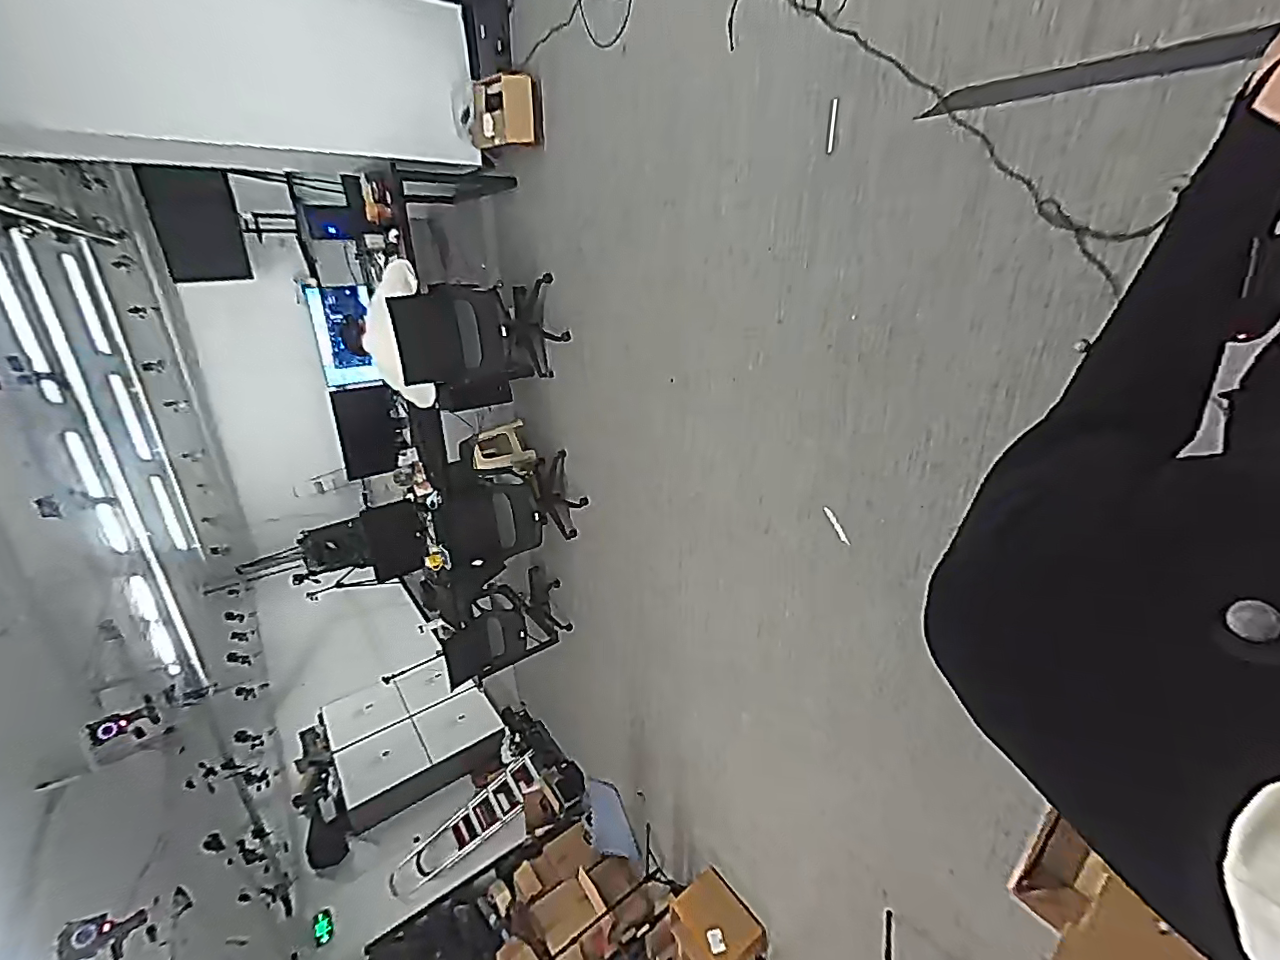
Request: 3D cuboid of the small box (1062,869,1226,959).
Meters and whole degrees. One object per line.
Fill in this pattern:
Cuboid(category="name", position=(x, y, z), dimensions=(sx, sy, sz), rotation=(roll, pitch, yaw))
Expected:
Cuboid(category="small box", position=(0.878, 0.851, 0.951), dimensions=(0.168, 0.176, 0.179), rotation=(26, 125, 46))
